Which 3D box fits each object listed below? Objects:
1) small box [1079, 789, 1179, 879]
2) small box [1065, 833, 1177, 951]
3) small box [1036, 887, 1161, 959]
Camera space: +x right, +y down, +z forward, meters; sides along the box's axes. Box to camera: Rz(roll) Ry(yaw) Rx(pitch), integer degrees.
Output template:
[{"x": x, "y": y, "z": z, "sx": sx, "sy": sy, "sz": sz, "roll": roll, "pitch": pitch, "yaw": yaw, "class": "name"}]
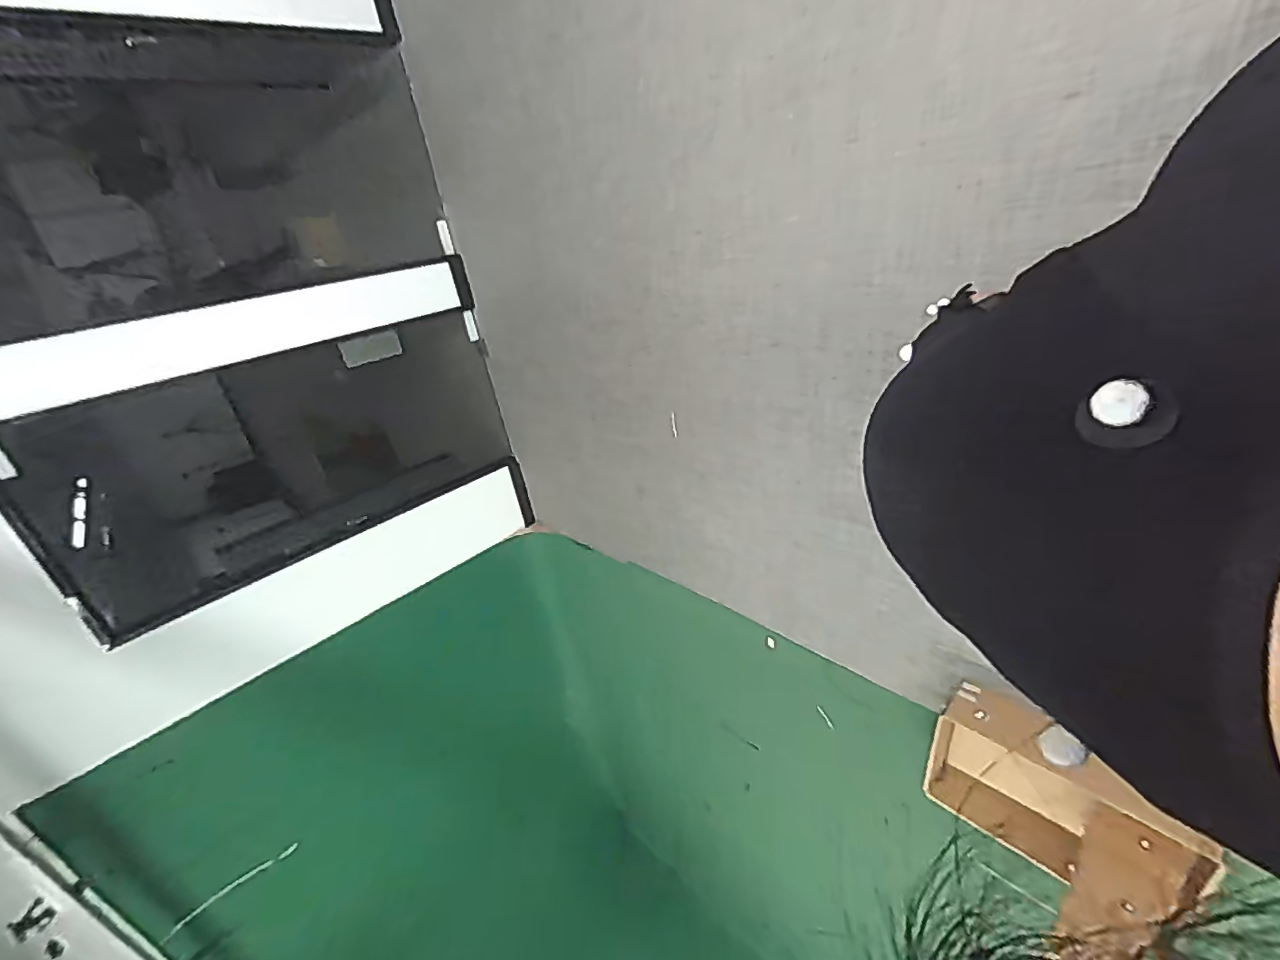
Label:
[{"x": 1.304, "y": 0.980, "z": 1.447, "sx": 0.168, "sy": 0.176, "sz": 0.179, "roll": 21, "pitch": 128, "yaw": 43, "class": "small box"}, {"x": 1.188, "y": 1.038, "z": 1.345, "sx": 0.179, "sy": 0.176, "sz": 0.168, "roll": 22, "pitch": 129, "yaw": 43, "class": "small box"}, {"x": 1.062, "y": 1.100, "z": 1.258, "sx": 0.179, "sy": 0.176, "sz": 0.168, "roll": 21, "pitch": 129, "yaw": 43, "class": "small box"}]
